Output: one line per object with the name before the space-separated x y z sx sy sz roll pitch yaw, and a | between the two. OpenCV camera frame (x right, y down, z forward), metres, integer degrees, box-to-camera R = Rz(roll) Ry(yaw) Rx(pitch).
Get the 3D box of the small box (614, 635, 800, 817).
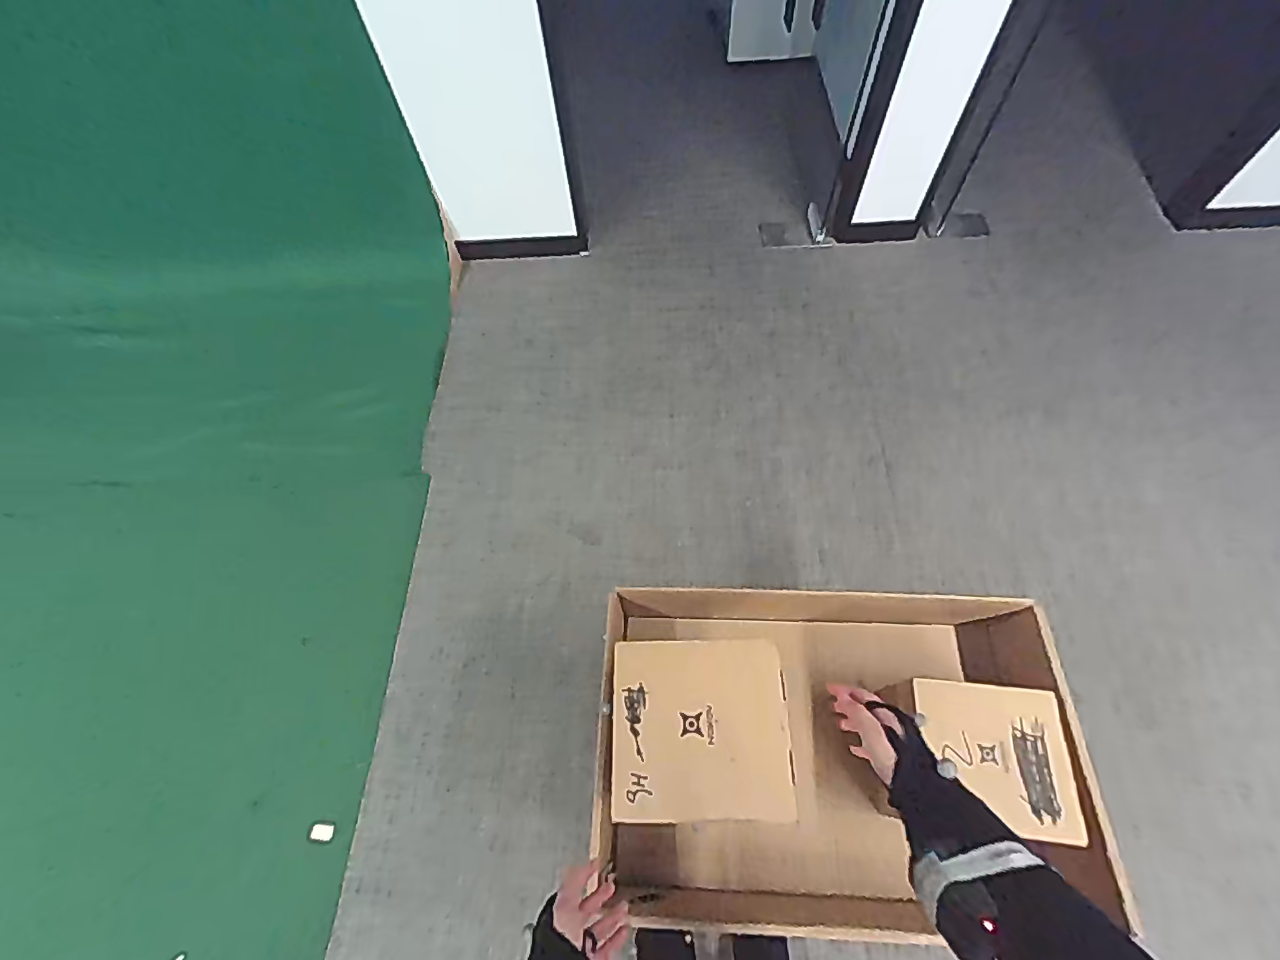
small box | 0.066 0.273 0.606 0.179 0.176 0.168 -2 62 3
